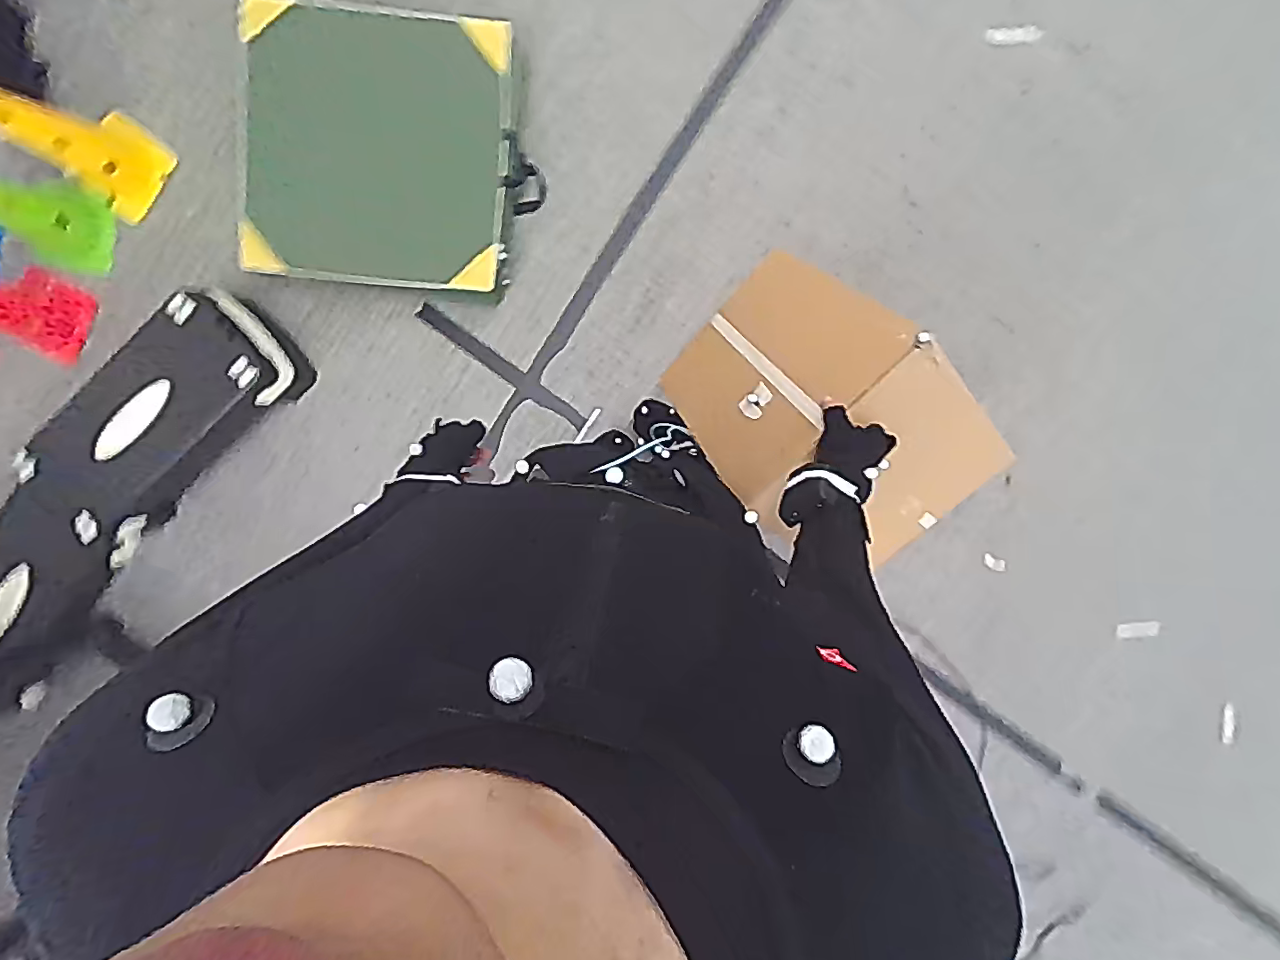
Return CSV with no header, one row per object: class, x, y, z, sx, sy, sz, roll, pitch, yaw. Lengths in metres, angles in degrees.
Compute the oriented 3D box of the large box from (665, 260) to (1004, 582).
large box,0.302,-0.106,0.926,0.320,0.408,0.320,31,113,-34
